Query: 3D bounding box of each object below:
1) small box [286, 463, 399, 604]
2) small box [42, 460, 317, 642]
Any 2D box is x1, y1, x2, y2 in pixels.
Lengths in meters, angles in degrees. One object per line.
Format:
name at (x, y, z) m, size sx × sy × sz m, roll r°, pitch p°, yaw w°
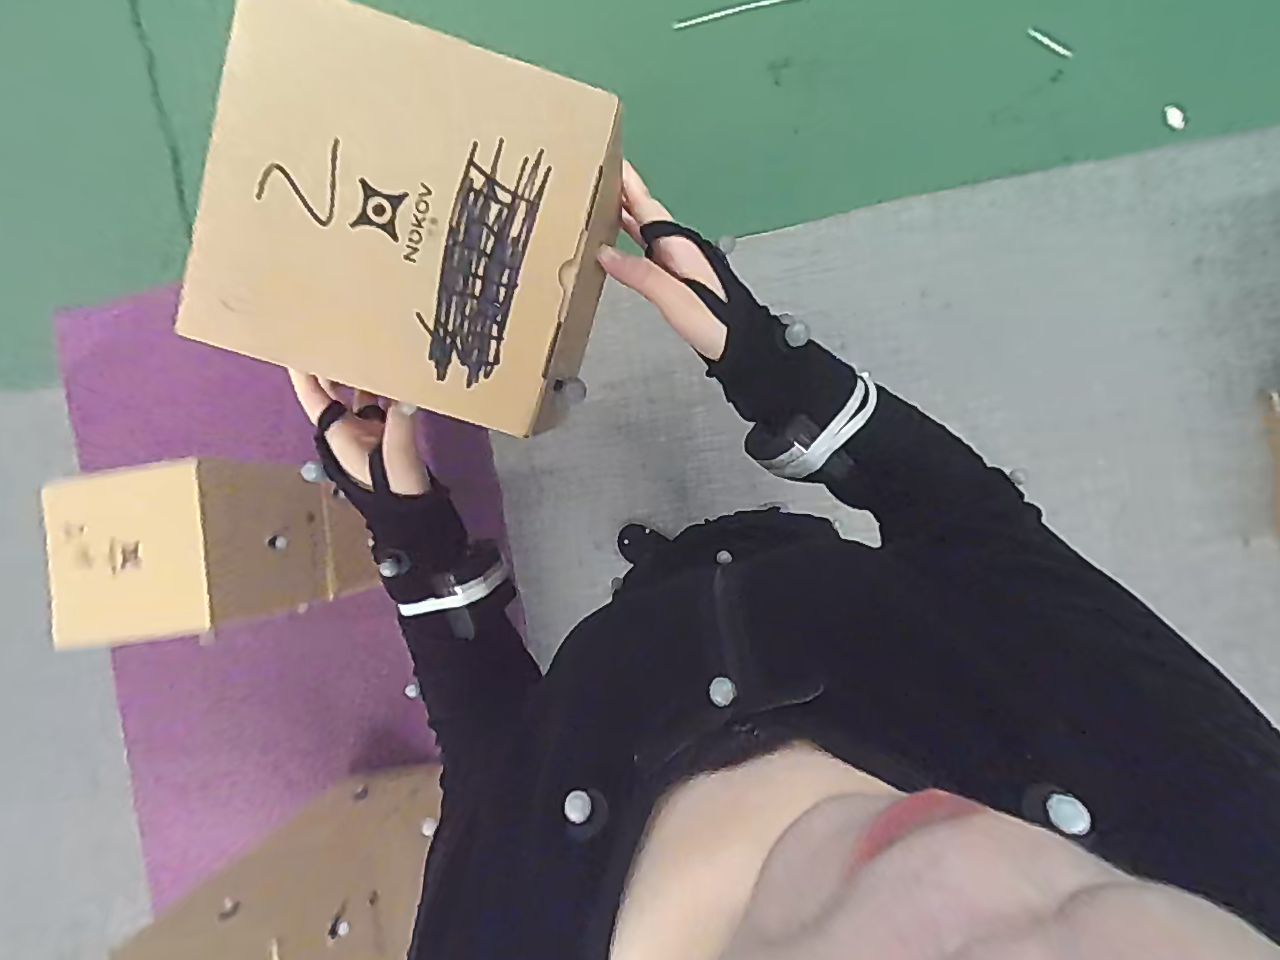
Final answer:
small box at (-0.469, 0.077, 0.771) m, size 0.168 × 0.176 × 0.179 m, roll -10°, pitch 86°, yaw 7°
small box at (-0.495, 0.072, 0.608) m, size 0.179 × 0.176 × 0.168 m, roll -8°, pitch 86°, yaw 7°
